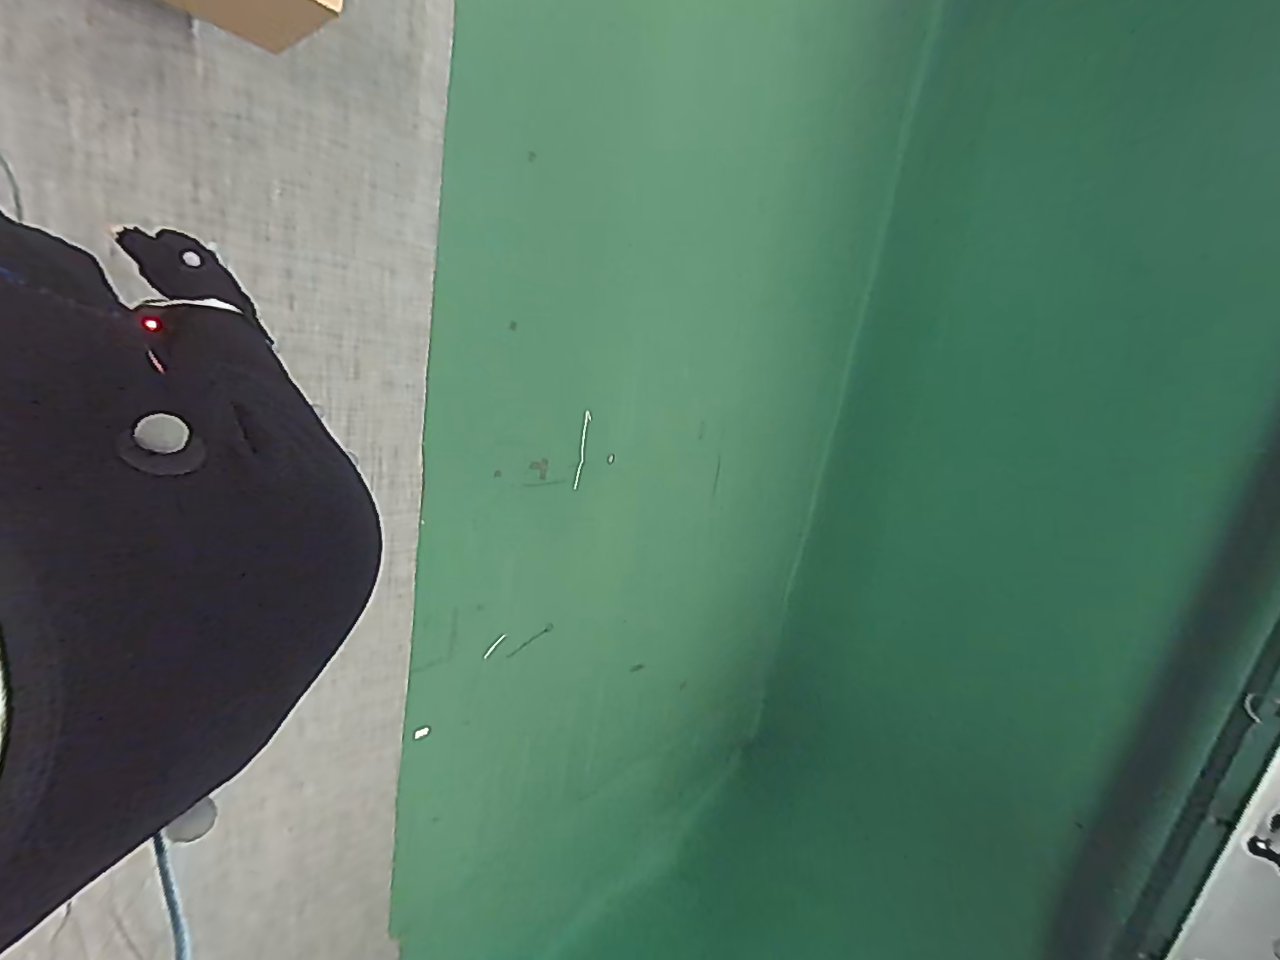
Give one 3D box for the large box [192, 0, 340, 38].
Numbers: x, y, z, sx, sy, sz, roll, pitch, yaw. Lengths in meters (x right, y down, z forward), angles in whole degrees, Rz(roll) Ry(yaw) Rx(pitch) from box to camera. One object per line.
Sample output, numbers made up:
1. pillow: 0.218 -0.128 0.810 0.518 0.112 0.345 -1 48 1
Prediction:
1. large box: -0.671 -0.905 0.739 0.408 0.320 0.320 -5 110 -49
